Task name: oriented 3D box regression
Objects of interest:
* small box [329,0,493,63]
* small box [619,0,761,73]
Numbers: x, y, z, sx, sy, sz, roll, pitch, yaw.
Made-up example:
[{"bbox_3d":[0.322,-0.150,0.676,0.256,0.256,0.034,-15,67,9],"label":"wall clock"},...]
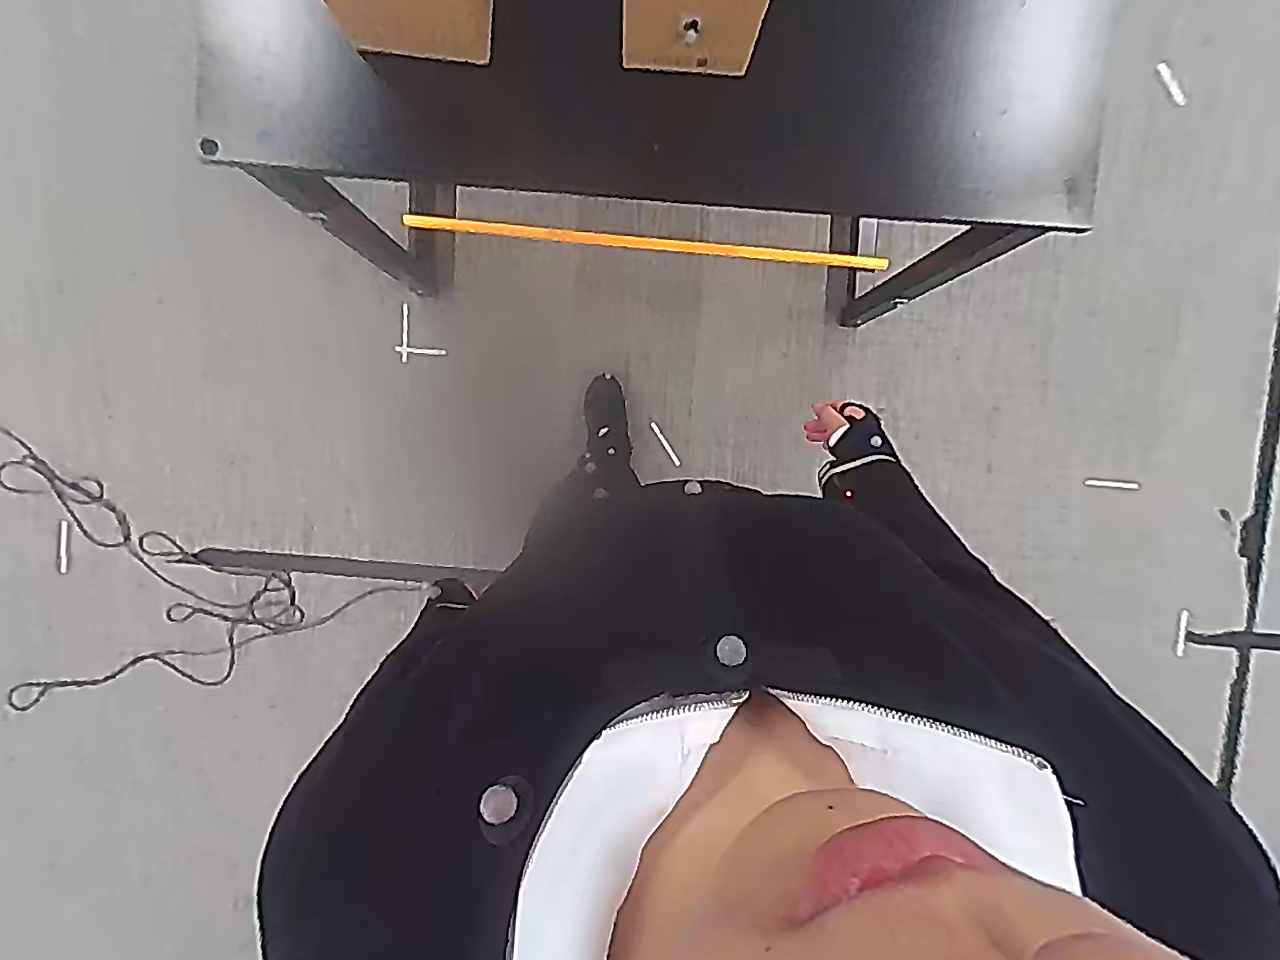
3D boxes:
[{"bbox_3d":[-0.276,-0.628,0.625,0.179,0.176,0.168,5,93,-3],"label":"small box"},{"bbox_3d":[0.061,-0.624,0.638,0.168,0.176,0.179,2,94,-2],"label":"small box"}]
